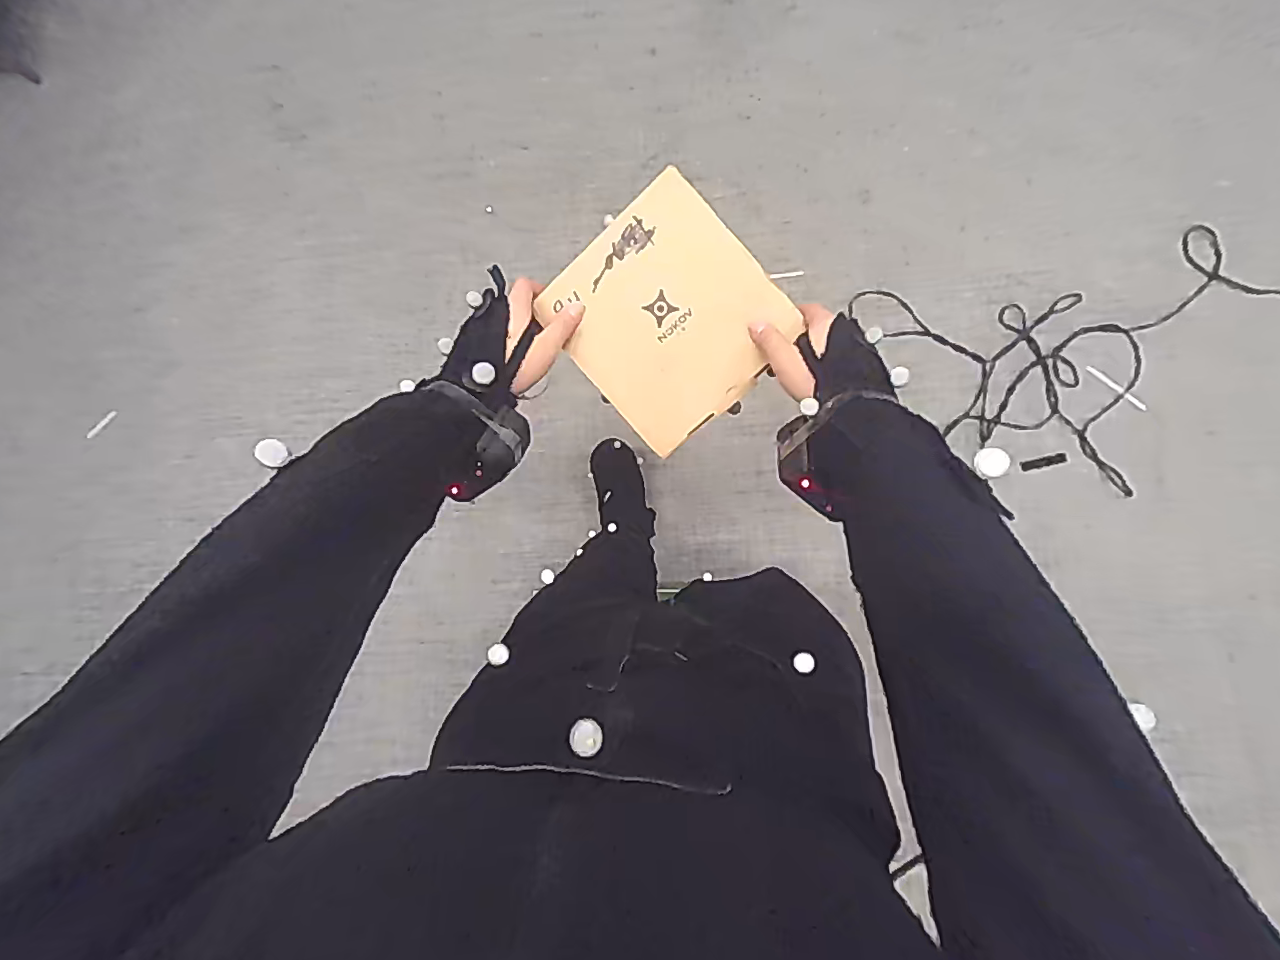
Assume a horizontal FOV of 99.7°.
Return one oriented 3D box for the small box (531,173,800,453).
[{"bbox_3d":[0.028,-0.150,0.539,0.168,0.176,0.179,-41,92,8],"label":"small box"}]
